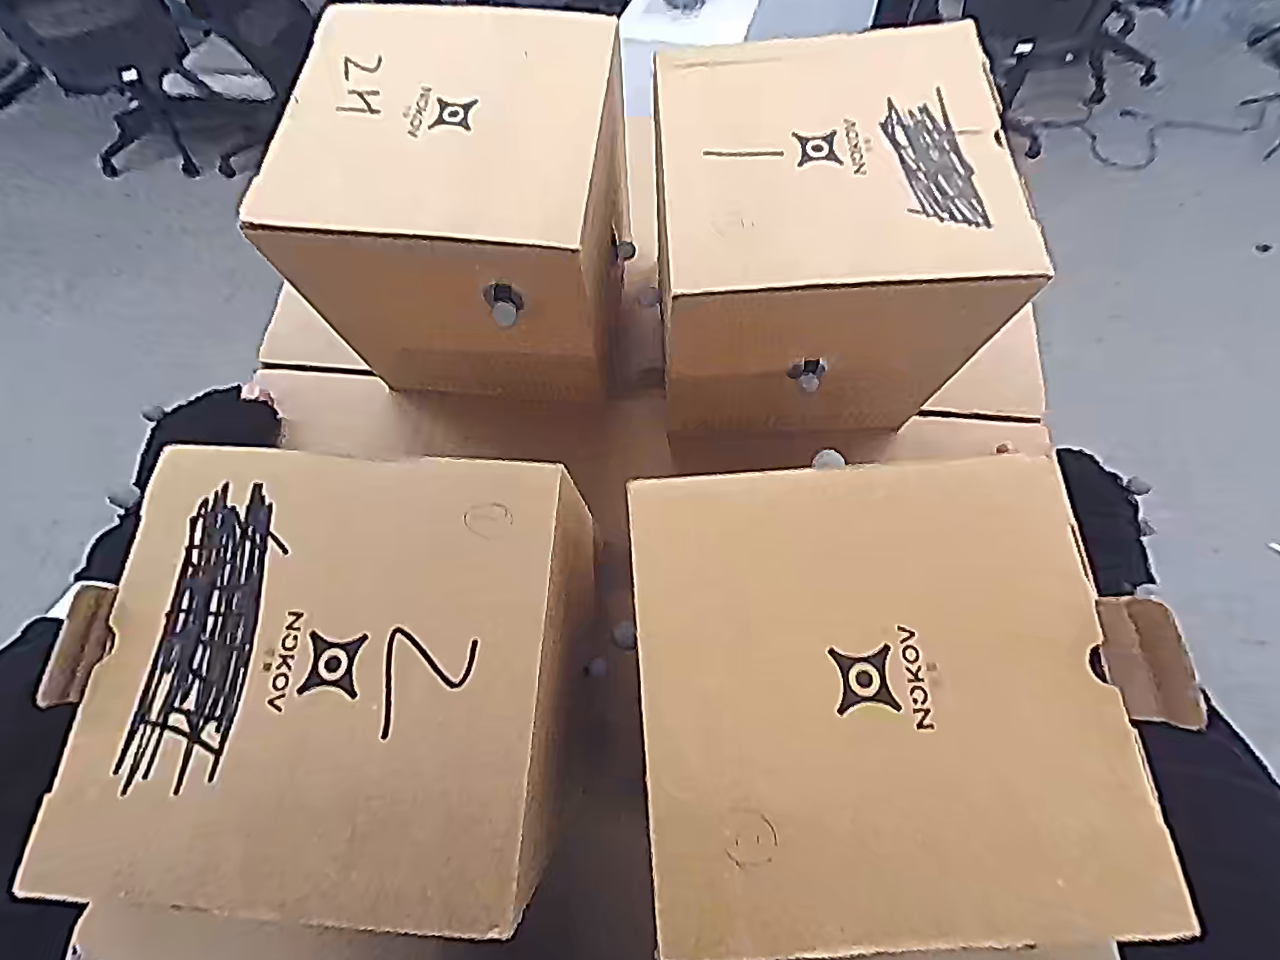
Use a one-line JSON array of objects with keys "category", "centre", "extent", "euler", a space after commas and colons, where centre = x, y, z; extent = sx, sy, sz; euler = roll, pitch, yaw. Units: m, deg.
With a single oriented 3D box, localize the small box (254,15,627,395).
[{"category": "small box", "centre": [-0.106, -0.173, 0.379], "extent": [0.179, 0.176, 0.168], "euler": [6, 71, 4]}]
